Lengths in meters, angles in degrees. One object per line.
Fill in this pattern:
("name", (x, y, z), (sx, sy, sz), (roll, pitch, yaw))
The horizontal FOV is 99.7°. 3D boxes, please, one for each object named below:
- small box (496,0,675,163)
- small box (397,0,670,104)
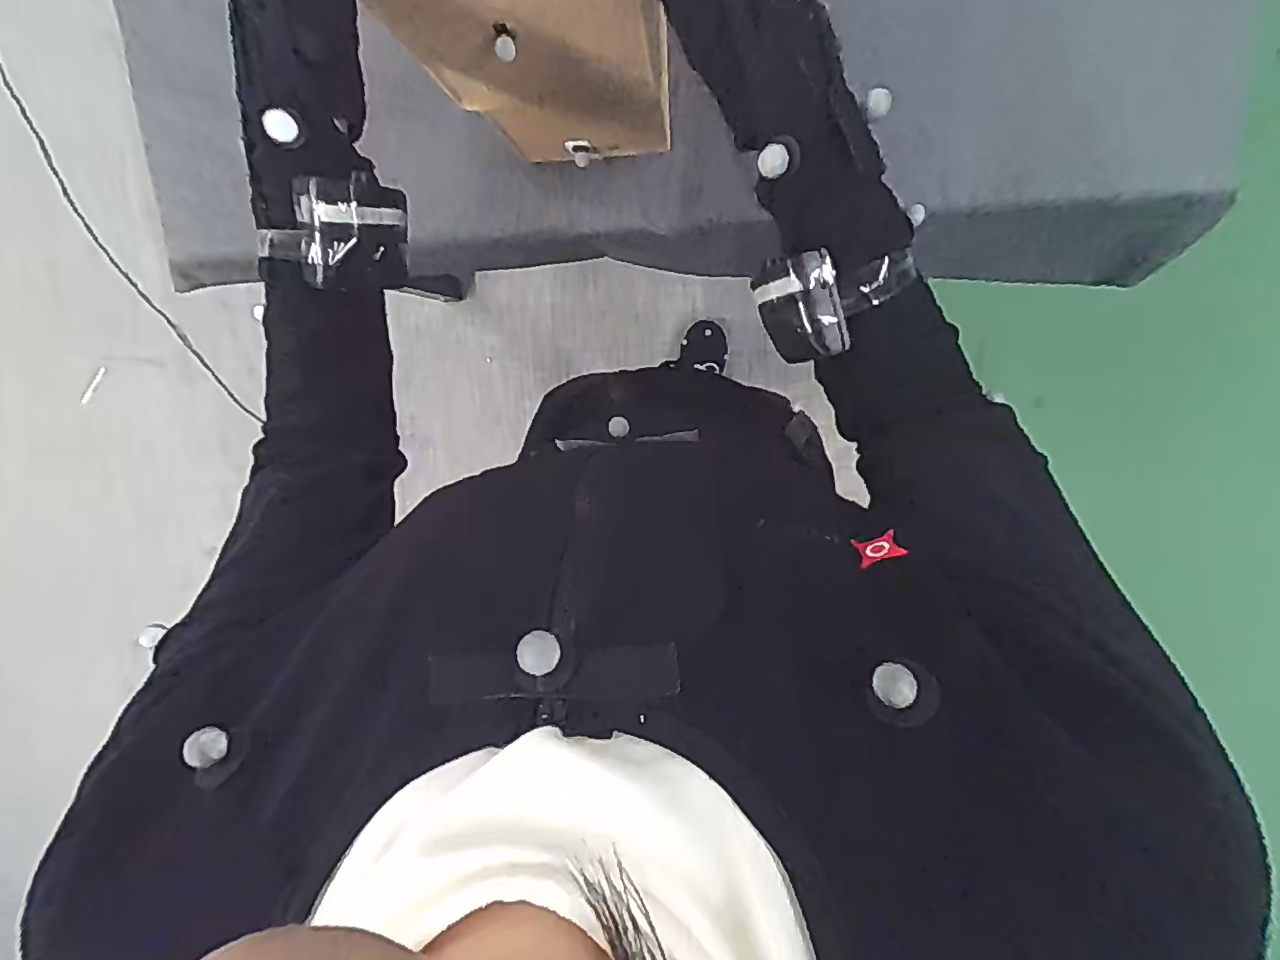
("small box", (-0.057, -0.433, 0.514), (0.168, 0.176, 0.179), (-2, 103, 8))
("small box", (-0.076, -0.386, 0.360), (0.179, 0.176, 0.168), (-3, 99, 7))
